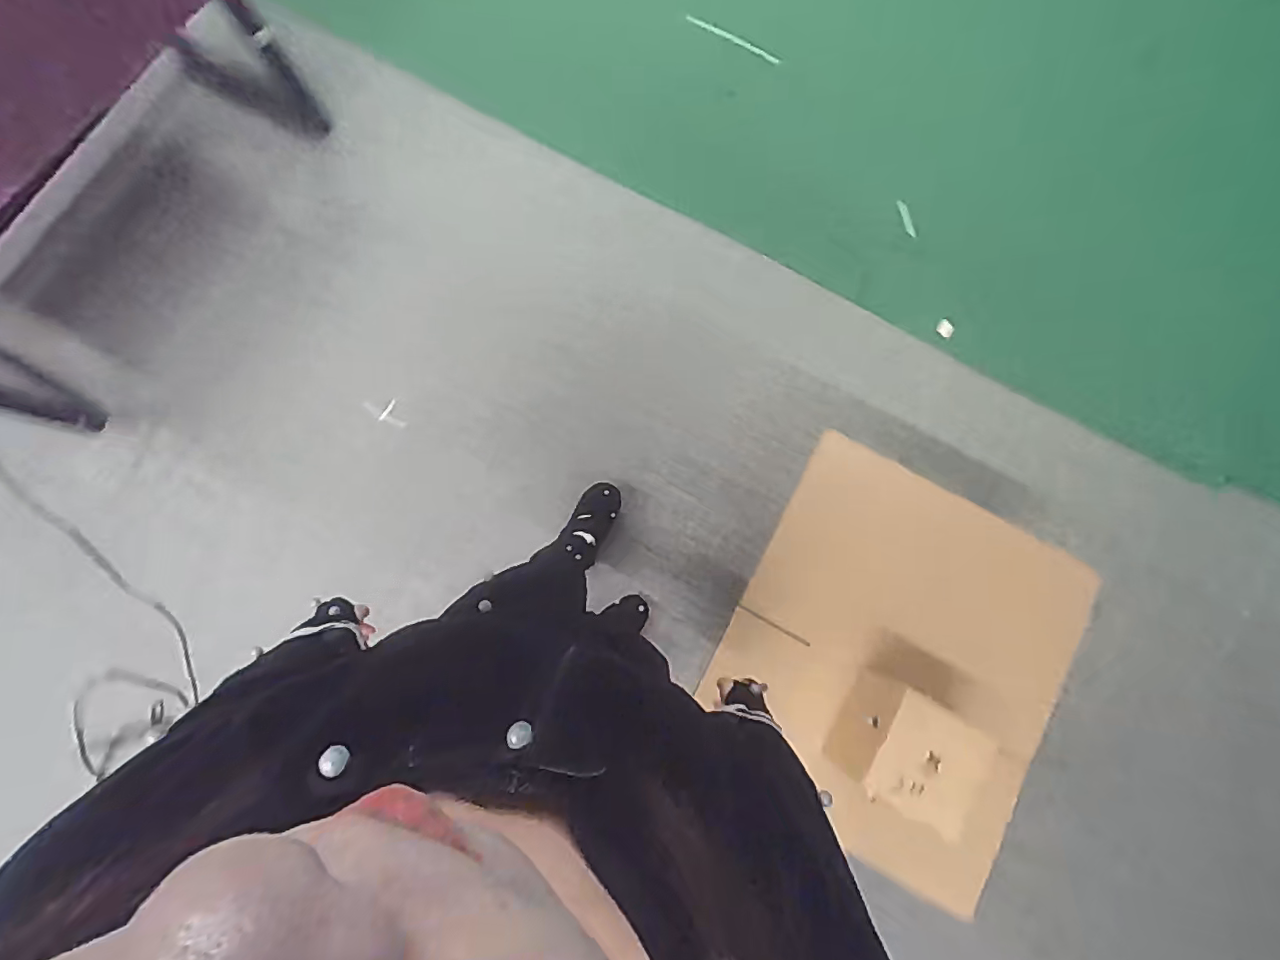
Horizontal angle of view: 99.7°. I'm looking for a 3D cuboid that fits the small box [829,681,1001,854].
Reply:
[{"bbox_3d":[0.448,0.465,0.911,0.168,0.176,0.179,32,80,5],"label":"small box"}]
